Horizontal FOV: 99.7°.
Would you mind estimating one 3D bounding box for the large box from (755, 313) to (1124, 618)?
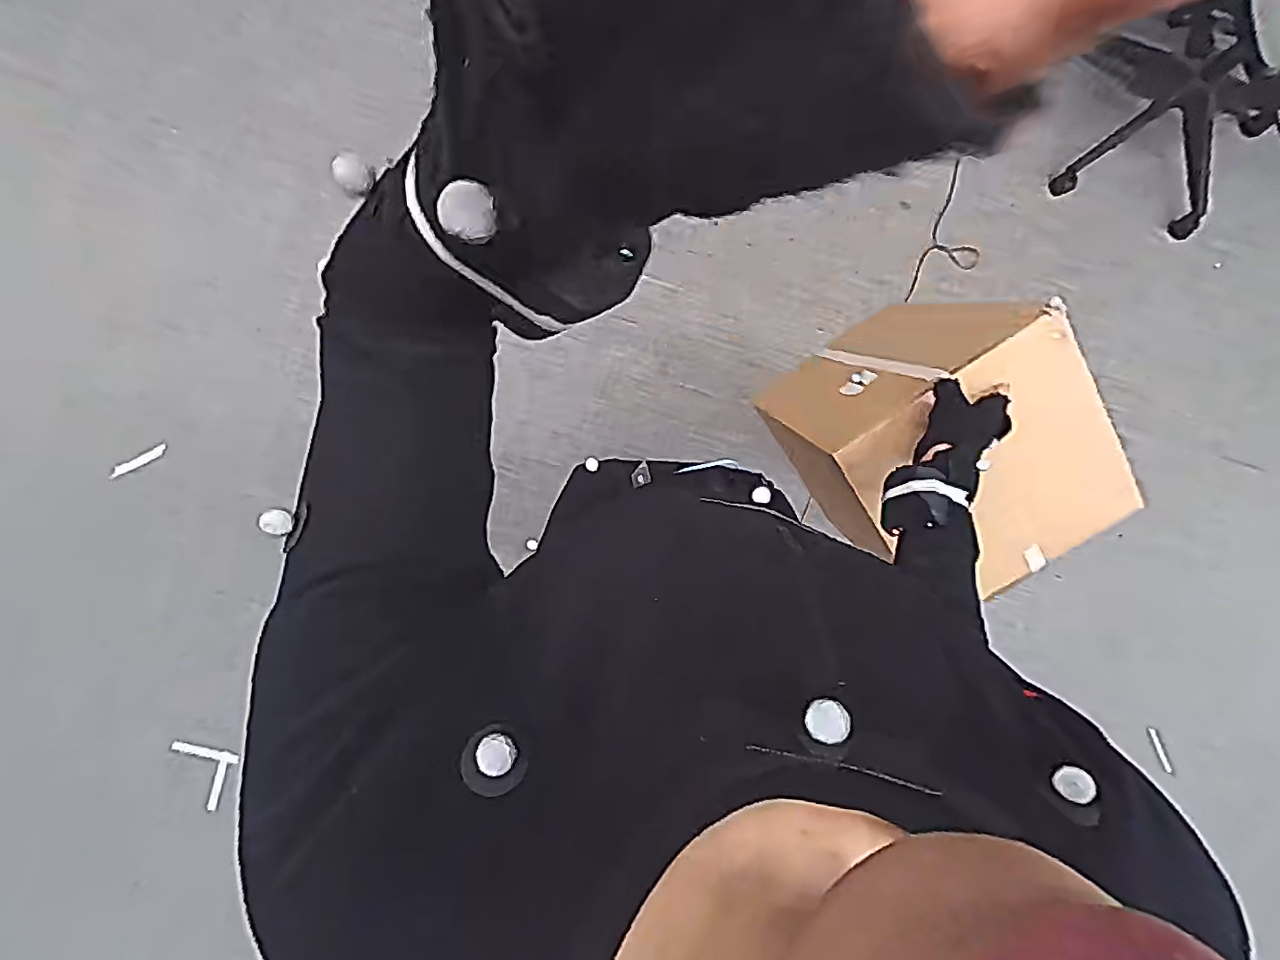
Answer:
[{"bbox_3d":[0.441,-0.055,0.889,0.320,0.408,0.320,-34,107,8],"label":"large box"}]
